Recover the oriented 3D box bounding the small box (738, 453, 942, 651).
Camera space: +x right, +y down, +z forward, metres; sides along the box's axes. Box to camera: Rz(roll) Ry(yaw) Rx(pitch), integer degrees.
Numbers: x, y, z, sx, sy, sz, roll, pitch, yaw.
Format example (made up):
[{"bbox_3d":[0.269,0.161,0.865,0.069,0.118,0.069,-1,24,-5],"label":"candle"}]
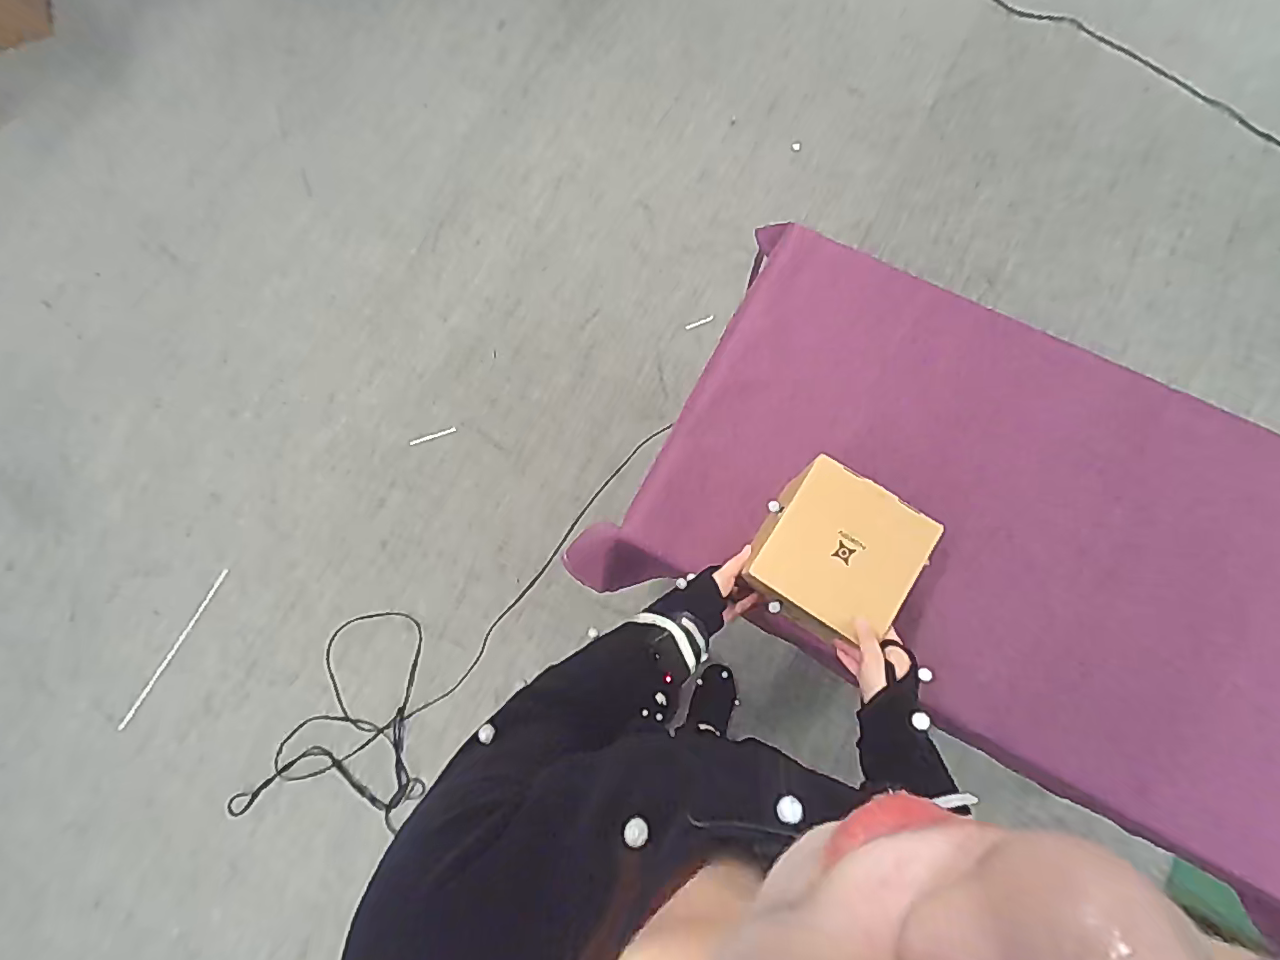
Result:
[{"bbox_3d":[0.241,0.099,0.702,0.168,0.176,0.179,33,79,10],"label":"small box"}]
